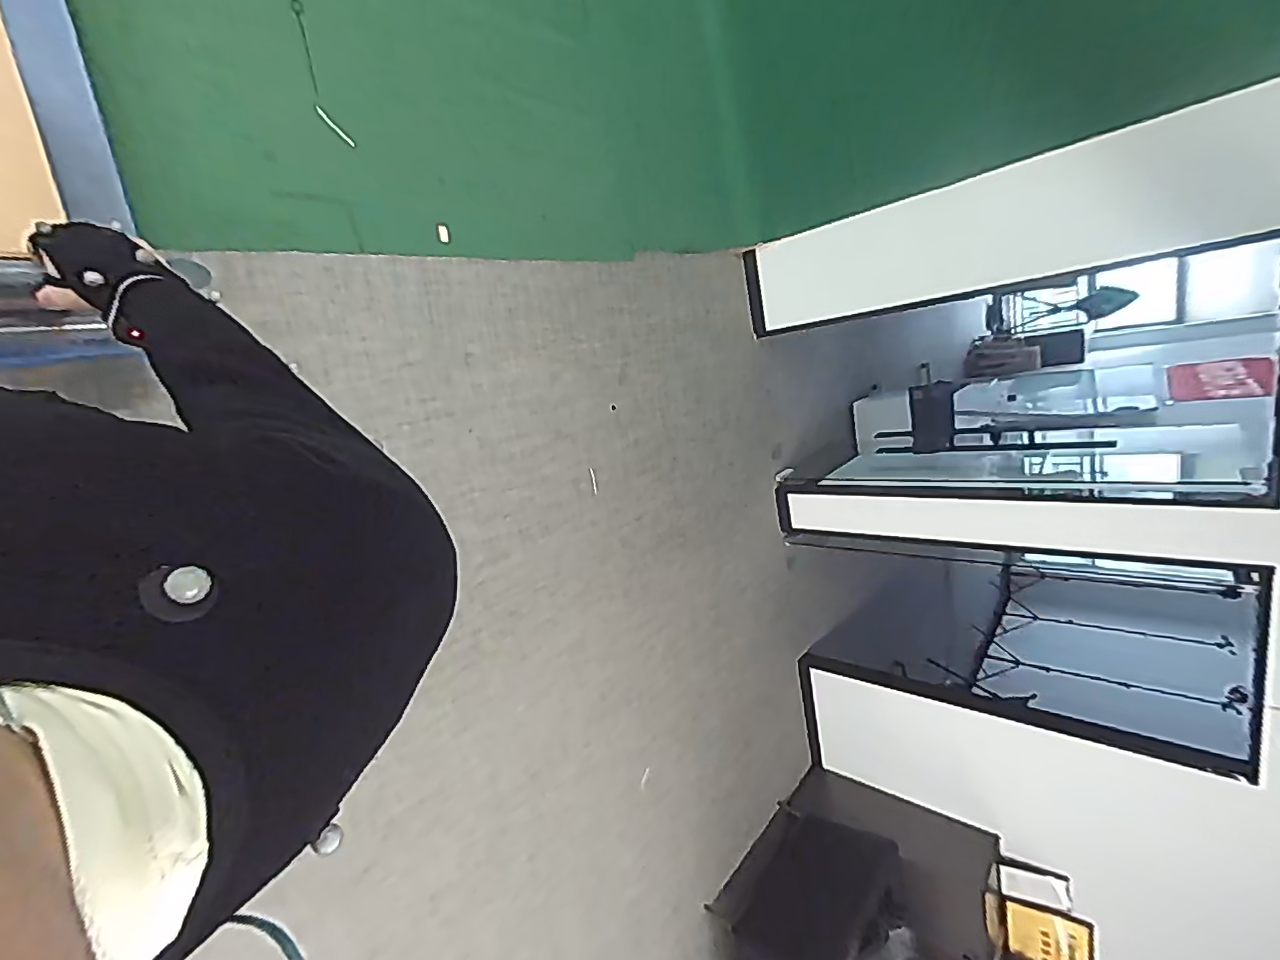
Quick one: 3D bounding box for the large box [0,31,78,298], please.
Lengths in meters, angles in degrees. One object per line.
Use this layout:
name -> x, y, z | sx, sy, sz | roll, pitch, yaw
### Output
large box -> -1.112, -0.500, 0.796 | 0.320, 0.320, 0.408 | -20, 105, -45
